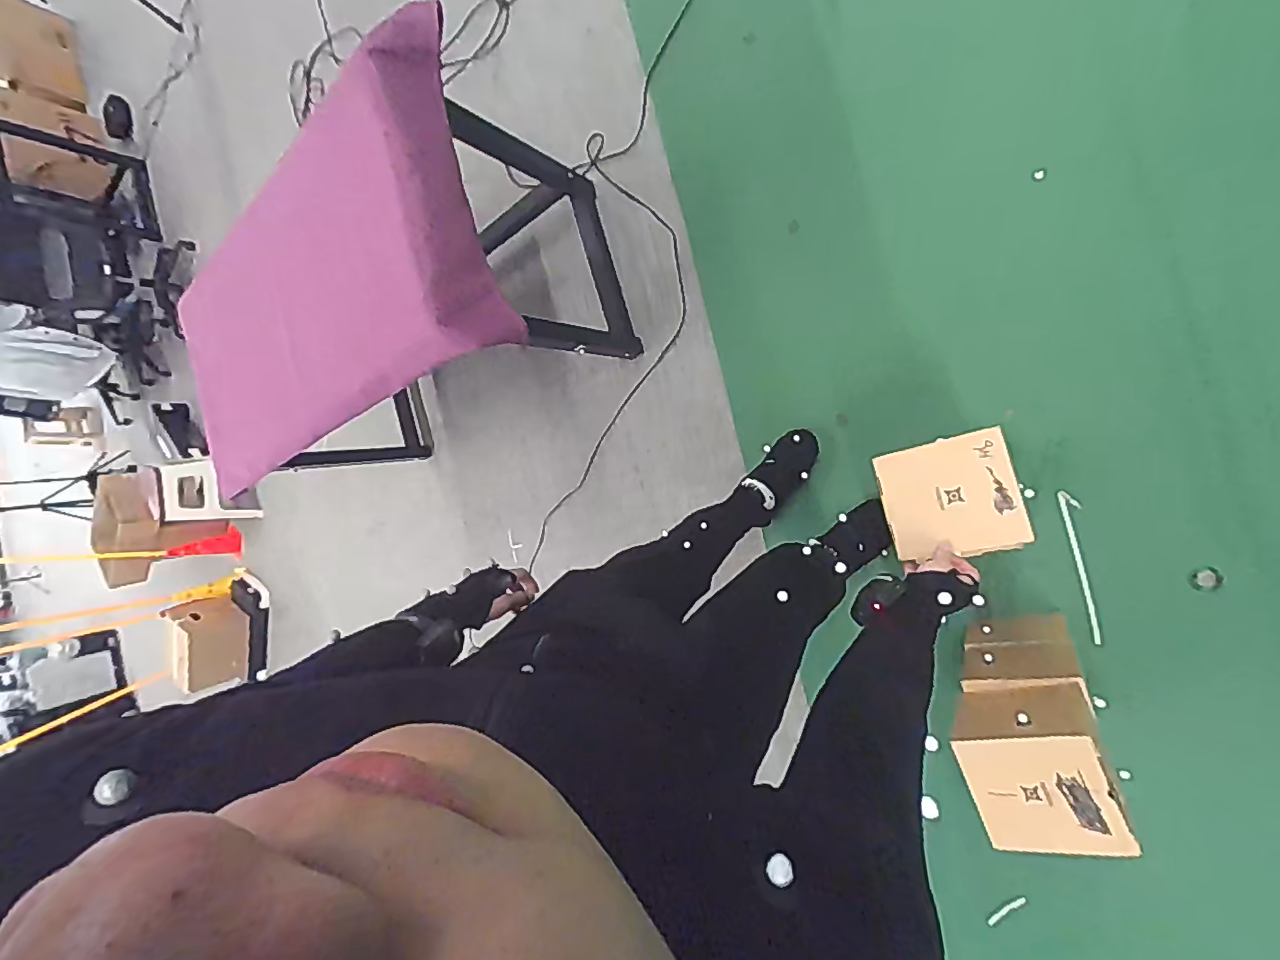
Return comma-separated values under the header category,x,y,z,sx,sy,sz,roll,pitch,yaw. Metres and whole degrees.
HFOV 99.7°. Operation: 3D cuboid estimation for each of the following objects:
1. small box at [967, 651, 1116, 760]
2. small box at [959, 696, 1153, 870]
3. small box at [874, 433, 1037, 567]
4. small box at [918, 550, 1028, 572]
category,x,y,z,sx,sy,sz,roll,pitch,yaw
small box,0.700,0.412,0.947,0.179,0.176,0.168,-18,86,35
small box,0.611,0.443,0.813,0.179,0.176,0.168,-25,82,36
small box,0.493,0.037,0.842,0.179,0.176,0.168,-18,78,34
small box,0.583,0.055,0.989,0.168,0.176,0.179,-19,84,34
